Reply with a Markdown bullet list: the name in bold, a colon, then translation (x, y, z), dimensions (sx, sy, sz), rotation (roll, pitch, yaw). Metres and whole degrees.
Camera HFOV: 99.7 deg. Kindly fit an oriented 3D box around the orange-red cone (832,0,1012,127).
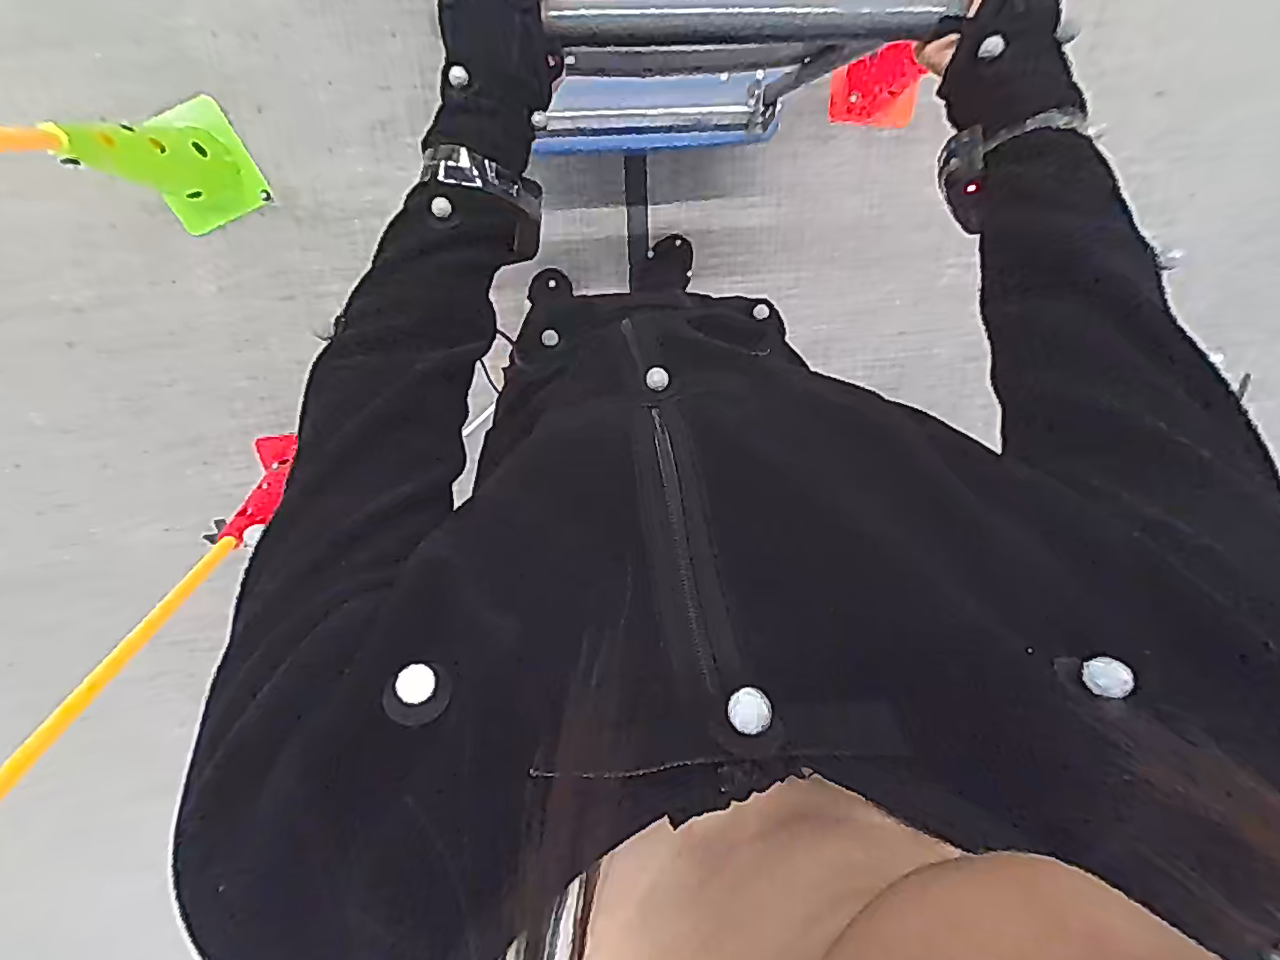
- **orange-red cone**: translation (0.548, -0.817, 1.014), dimensions (0.199, 0.360, 0.198), rotation (0, 114, -9)
